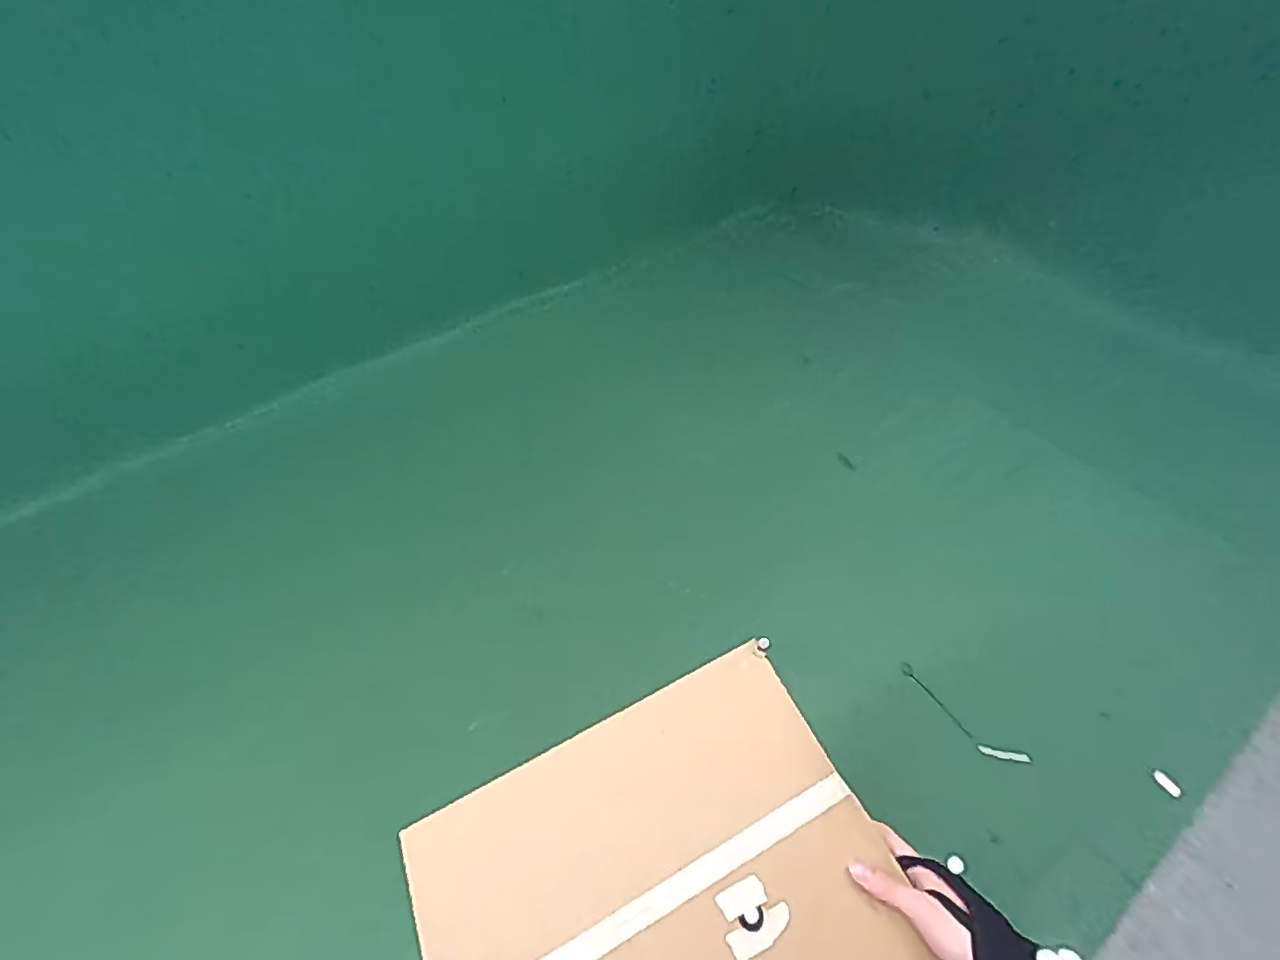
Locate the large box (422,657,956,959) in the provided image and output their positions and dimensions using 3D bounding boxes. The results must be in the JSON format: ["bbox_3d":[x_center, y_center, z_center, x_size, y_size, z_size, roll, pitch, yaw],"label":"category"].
[{"bbox_3d":[0.038,0.472,0.610,0.408,0.320,0.320,-24,59,-12],"label":"large box"}]
